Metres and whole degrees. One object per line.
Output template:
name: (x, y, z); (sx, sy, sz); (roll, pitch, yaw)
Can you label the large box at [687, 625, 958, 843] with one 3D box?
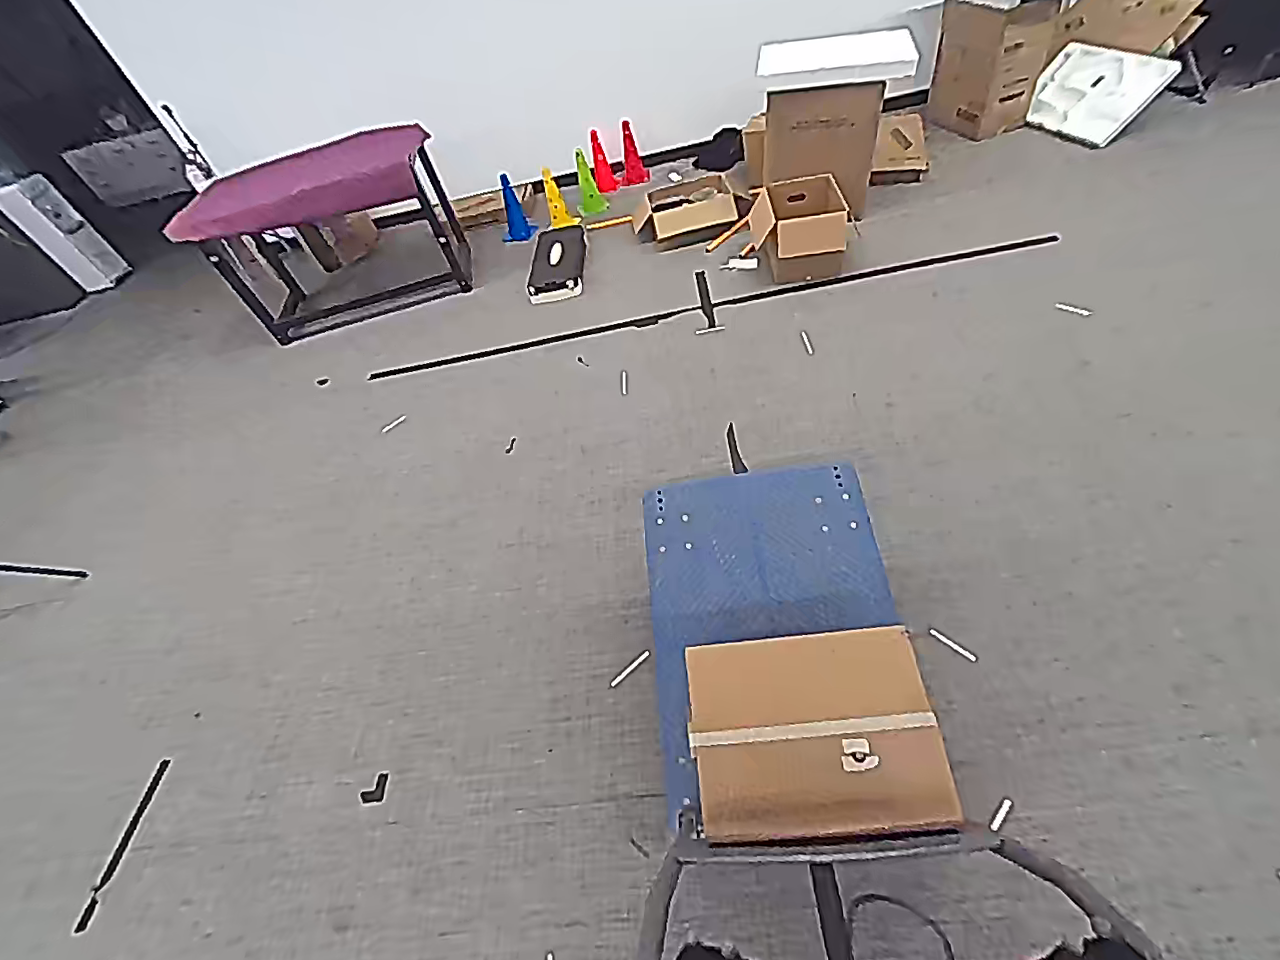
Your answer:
large box: (0.319, 0.498, 1.072); (0.408, 0.320, 0.320); (-8, 64, 6)
